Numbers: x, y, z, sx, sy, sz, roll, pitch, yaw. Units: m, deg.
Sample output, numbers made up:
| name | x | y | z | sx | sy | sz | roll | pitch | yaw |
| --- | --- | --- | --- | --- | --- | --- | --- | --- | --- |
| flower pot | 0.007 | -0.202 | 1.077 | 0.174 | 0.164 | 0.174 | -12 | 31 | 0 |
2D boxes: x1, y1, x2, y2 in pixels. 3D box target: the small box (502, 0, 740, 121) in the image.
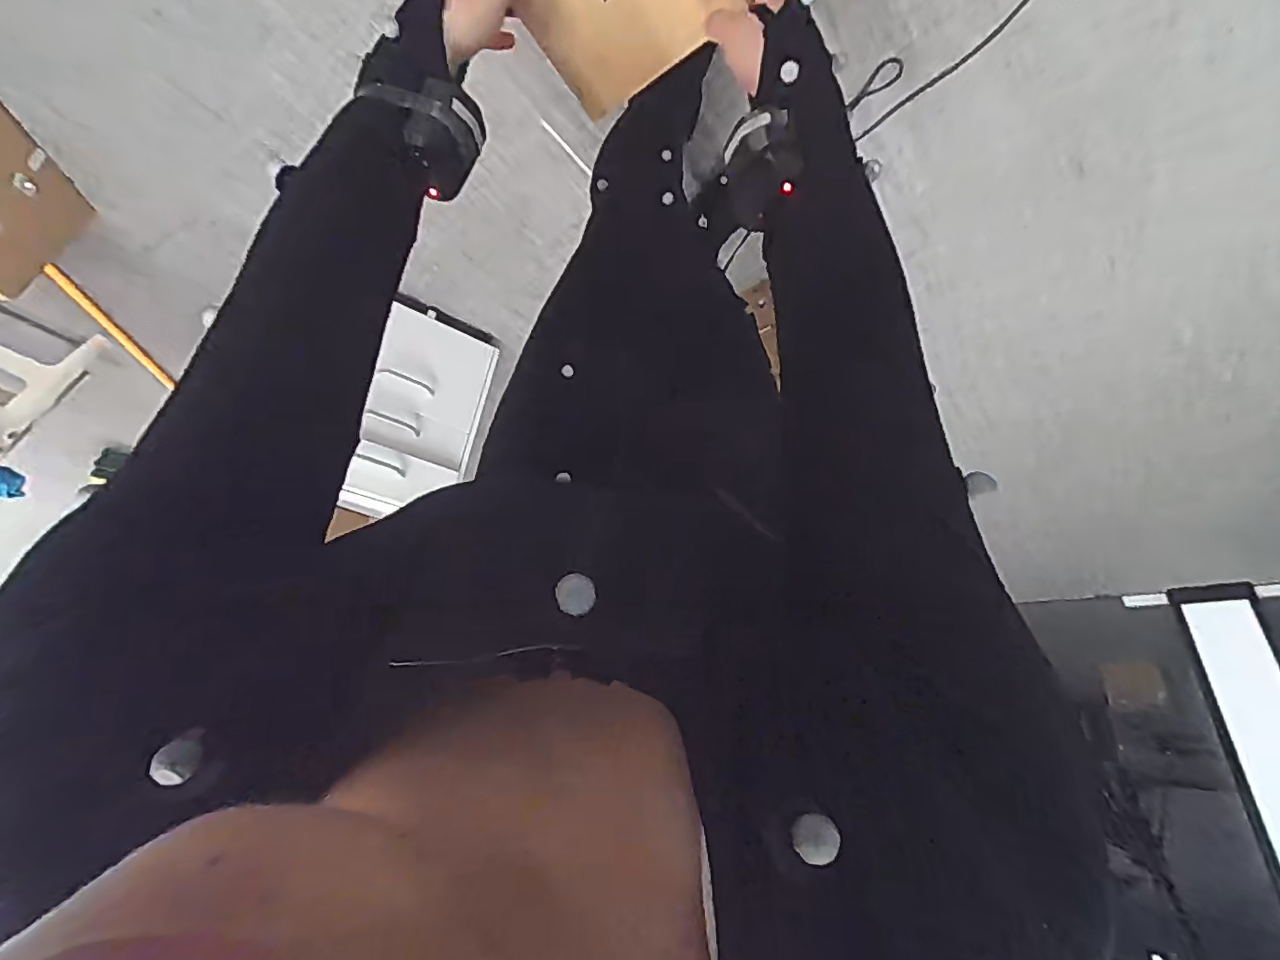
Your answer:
| name | x | y | z | sx | sy | sz | roll | pitch | yaw |
| --- | --- | --- | --- | --- | --- | --- | --- | --- | --- |
| small box | -0.020 | -0.489 | 0.490 | 0.179 | 0.176 | 0.168 | -15 | 146 | 33 |
